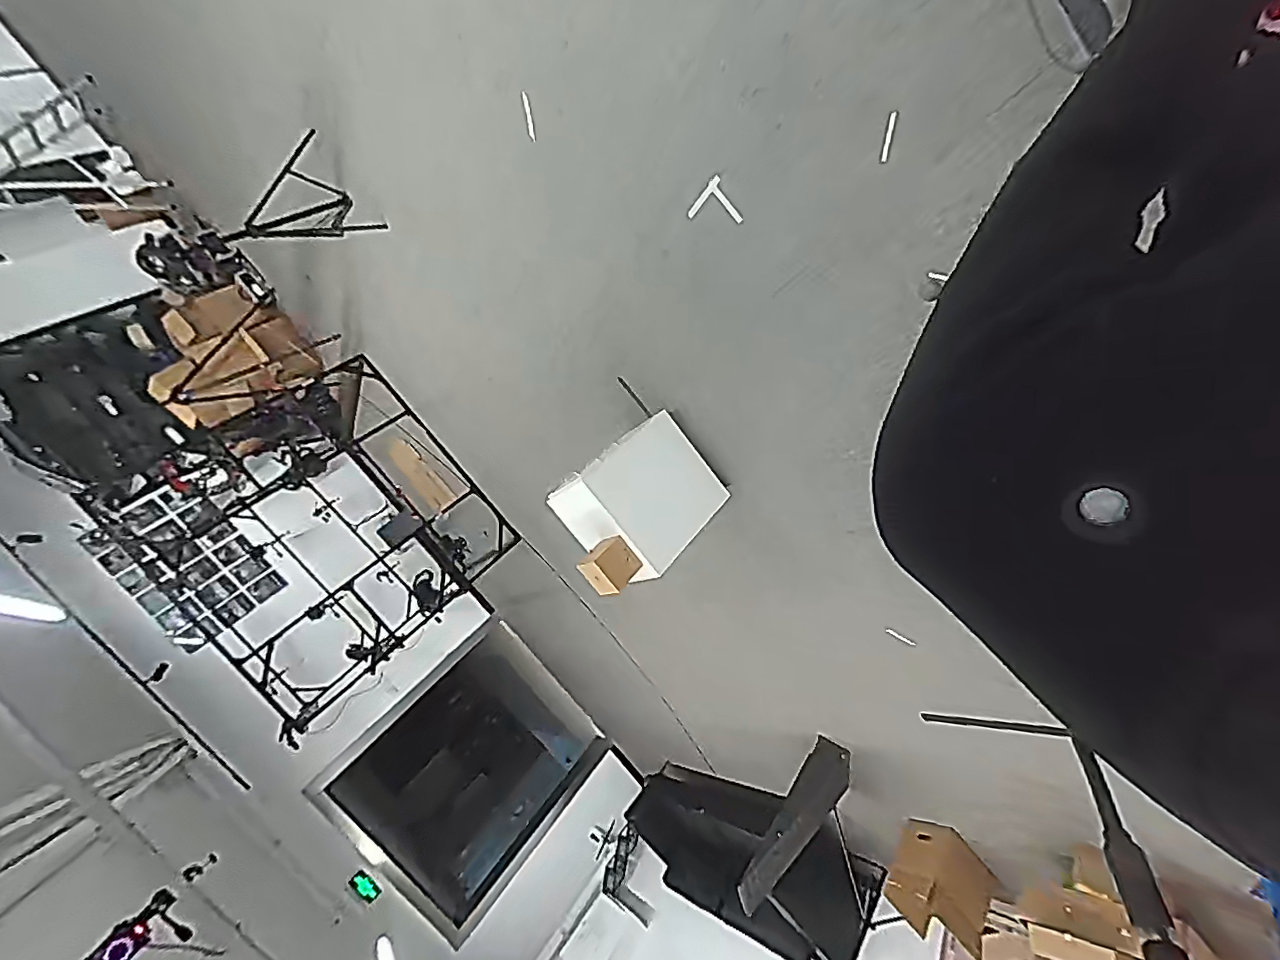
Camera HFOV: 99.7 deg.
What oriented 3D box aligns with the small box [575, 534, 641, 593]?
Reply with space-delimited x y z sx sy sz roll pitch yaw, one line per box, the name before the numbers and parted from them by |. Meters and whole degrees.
small box | -0.128 0.343 2.223 0.168 0.176 0.179 52 148 -9
